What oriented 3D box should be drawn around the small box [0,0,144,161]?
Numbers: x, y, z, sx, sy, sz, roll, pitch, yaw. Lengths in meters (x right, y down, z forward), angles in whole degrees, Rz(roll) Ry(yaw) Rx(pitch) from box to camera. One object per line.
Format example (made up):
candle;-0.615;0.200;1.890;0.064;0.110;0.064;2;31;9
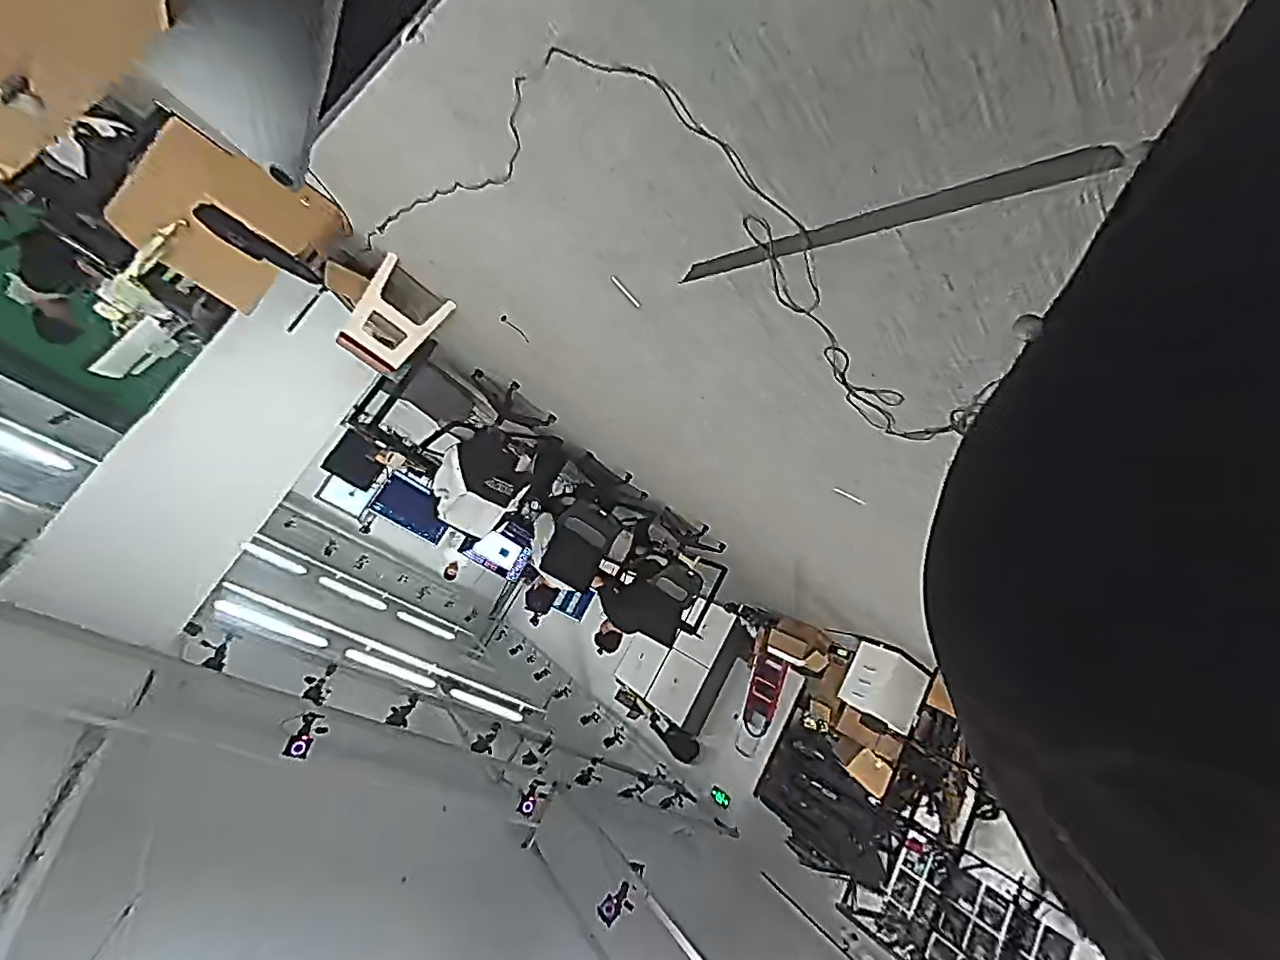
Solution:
small box;-0.401;-0.300;0.271;0.168;0.176;0.179;38;164;-33
